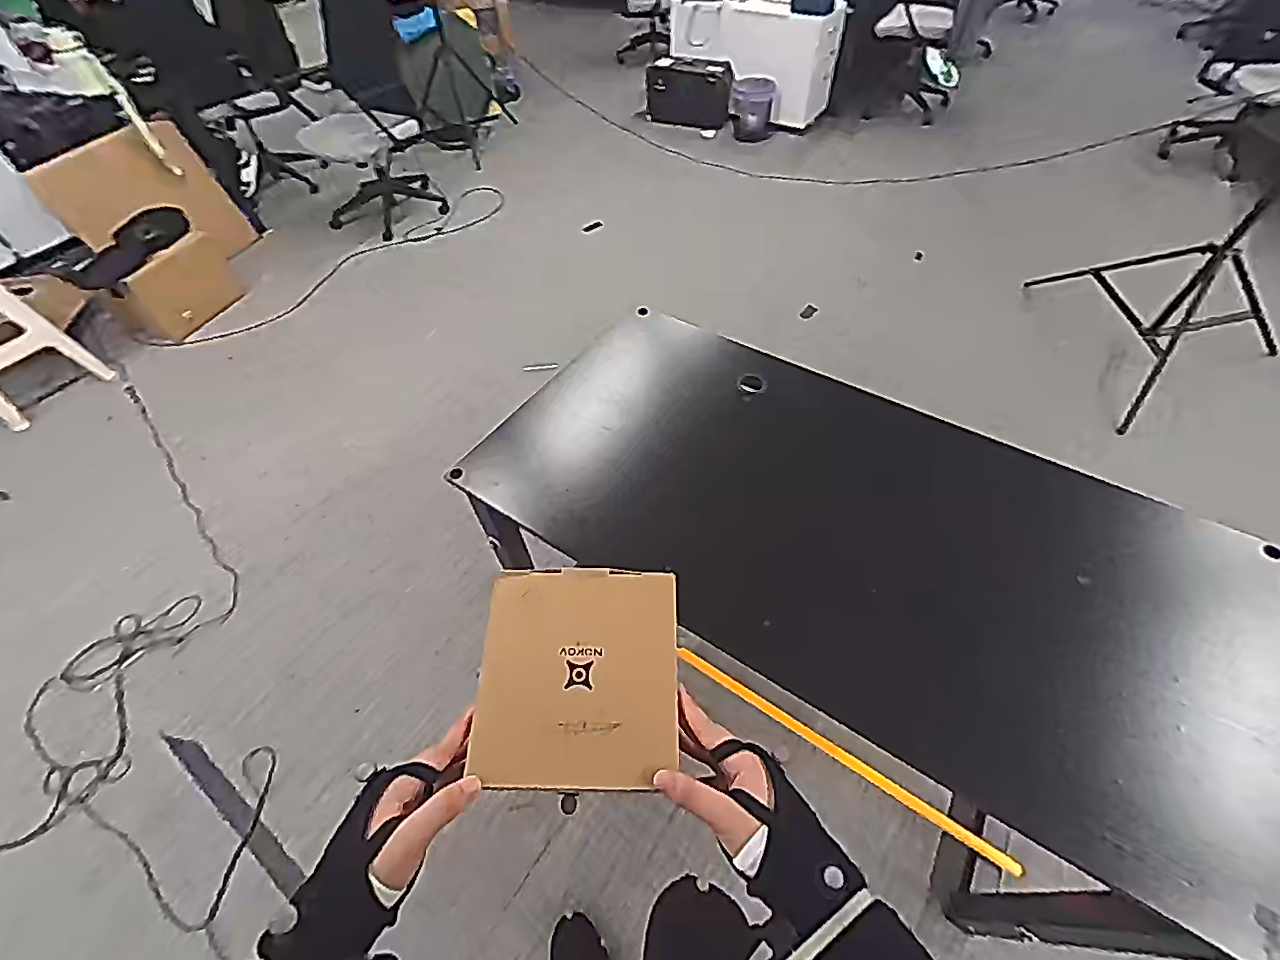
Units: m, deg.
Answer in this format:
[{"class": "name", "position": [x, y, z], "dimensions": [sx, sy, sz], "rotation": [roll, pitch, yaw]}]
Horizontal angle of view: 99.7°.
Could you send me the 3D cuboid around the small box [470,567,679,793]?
[{"class": "small box", "position": [-0.051, 0.200, 0.529], "dimensions": [0.168, 0.176, 0.179], "rotation": [2, 59, 0]}]
